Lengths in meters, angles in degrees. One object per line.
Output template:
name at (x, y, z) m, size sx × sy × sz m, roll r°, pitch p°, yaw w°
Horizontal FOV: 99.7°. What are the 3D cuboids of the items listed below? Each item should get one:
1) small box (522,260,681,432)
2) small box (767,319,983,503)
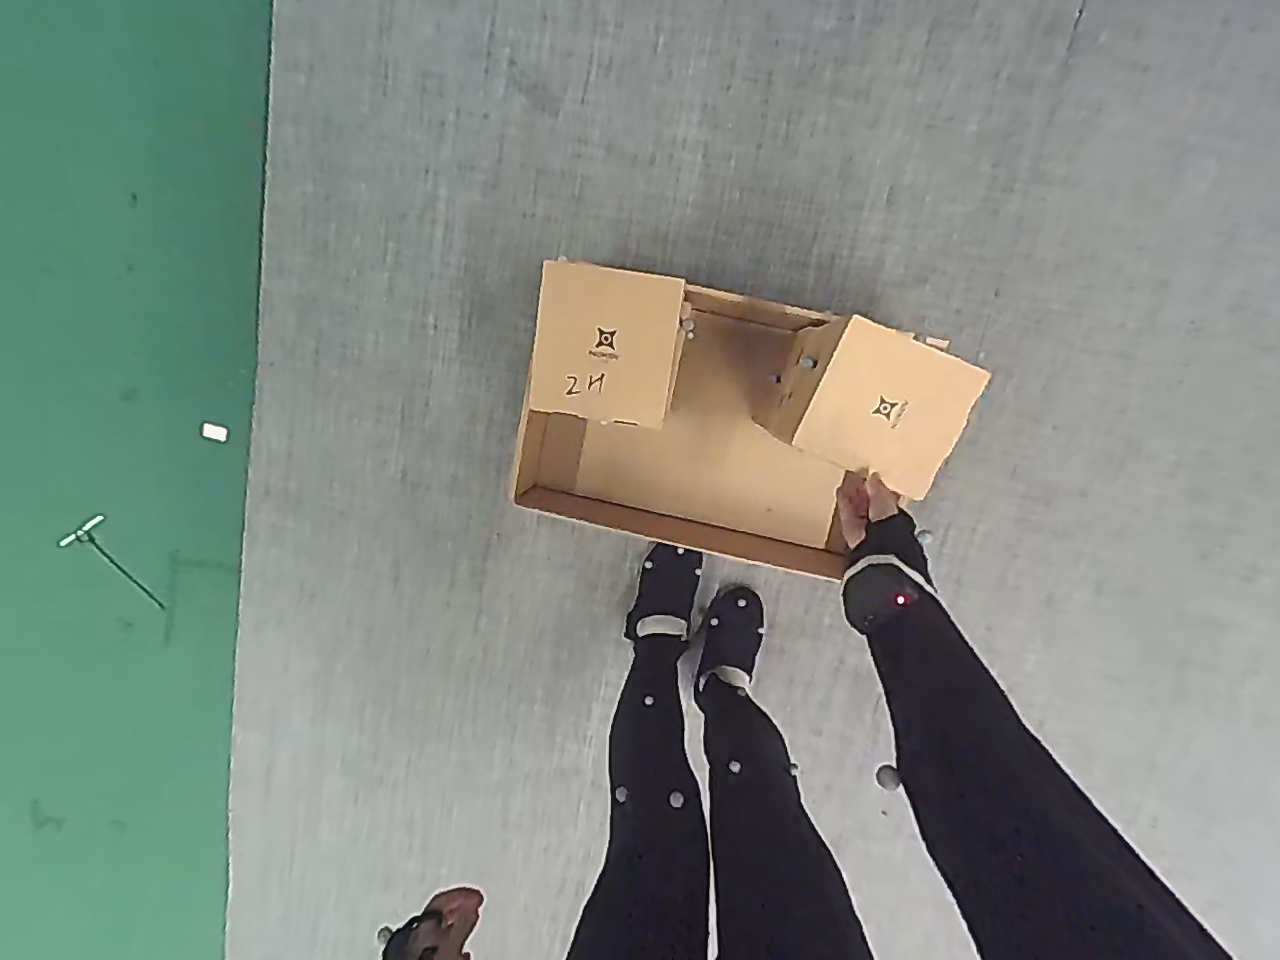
small box at (-0.043, -0.168, 0.709) m, size 0.168 × 0.176 × 0.179 m, roll 10°, pitch 101°, yaw 3°
small box at (0.285, -0.090, 0.705) m, size 0.179 × 0.176 × 0.168 m, roll 23°, pitch 101°, yaw -1°
